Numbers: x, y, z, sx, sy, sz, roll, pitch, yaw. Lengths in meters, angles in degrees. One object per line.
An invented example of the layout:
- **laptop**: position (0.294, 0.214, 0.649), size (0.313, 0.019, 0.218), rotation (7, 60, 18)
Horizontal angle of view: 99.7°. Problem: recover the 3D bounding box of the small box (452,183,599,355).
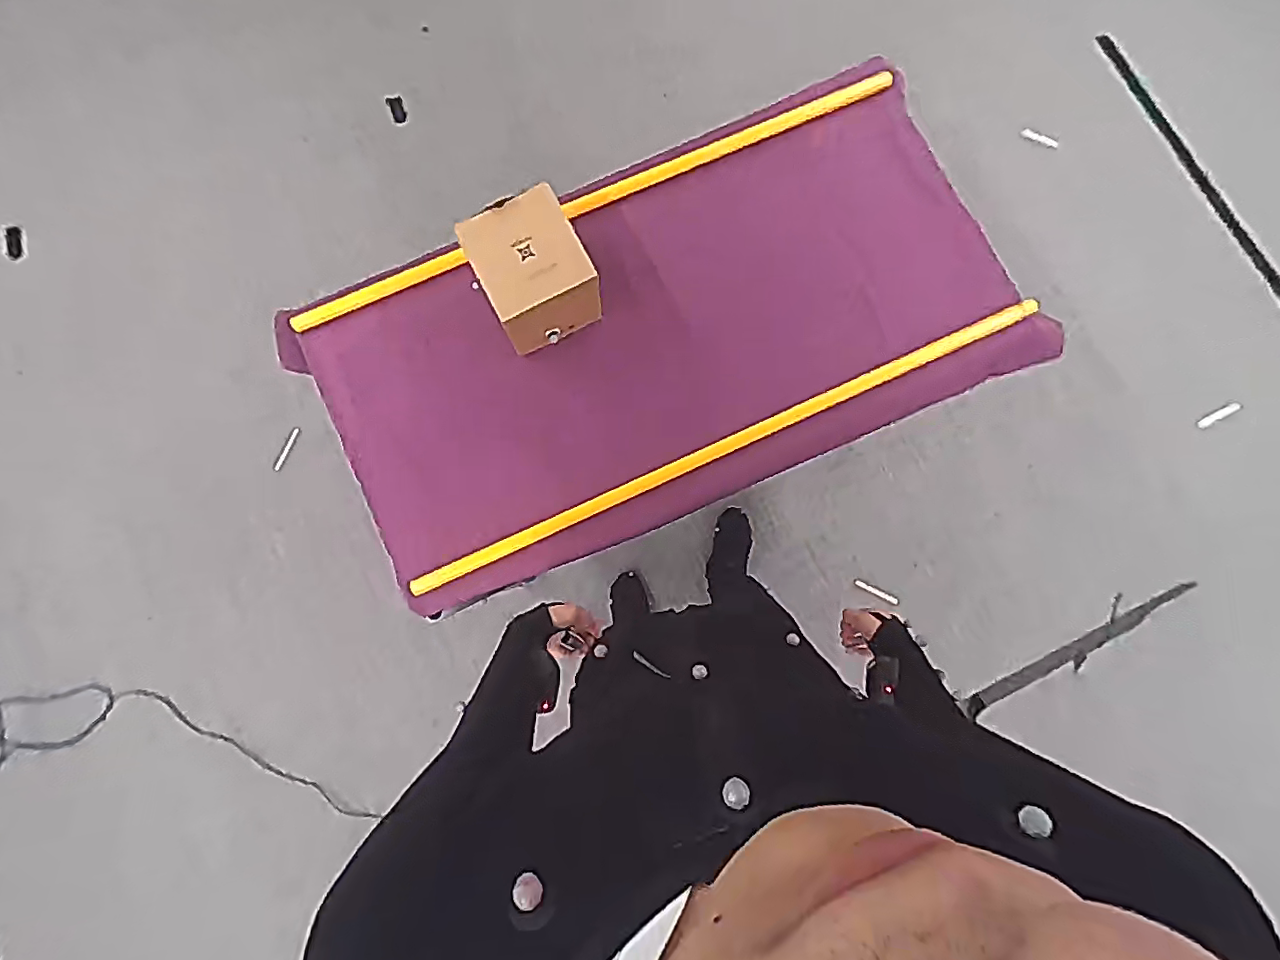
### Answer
- **small box**: position (-0.180, -0.339, 0.899), size (0.168, 0.176, 0.179), rotation (-28, 85, -4)
